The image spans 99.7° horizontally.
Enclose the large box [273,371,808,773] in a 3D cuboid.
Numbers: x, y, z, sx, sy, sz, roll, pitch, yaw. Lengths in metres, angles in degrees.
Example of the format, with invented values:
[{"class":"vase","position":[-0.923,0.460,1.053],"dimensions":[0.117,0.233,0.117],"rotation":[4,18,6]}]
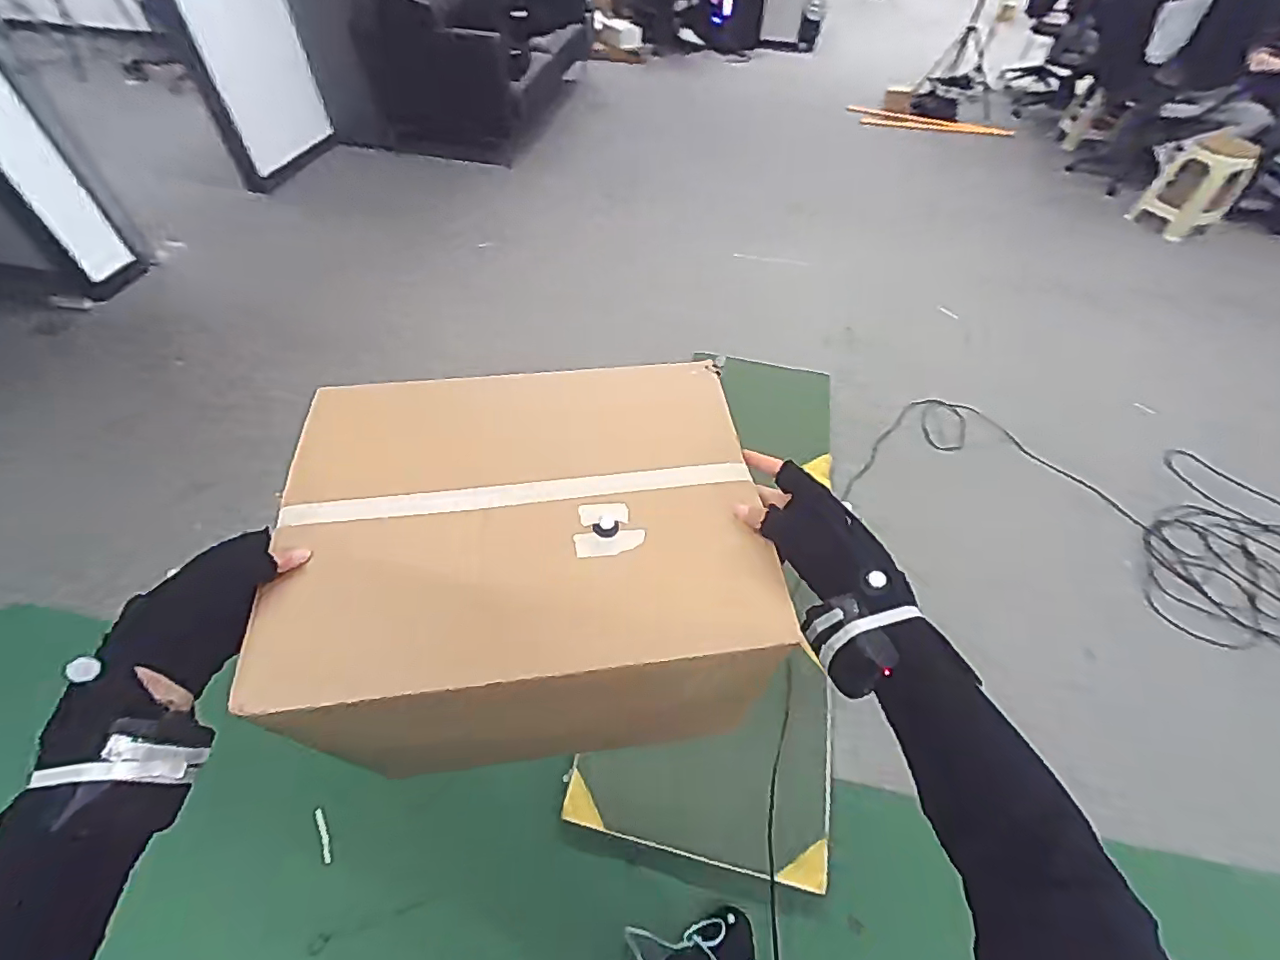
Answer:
[{"class":"large box","position":[-0.091,0.106,0.604],"dimensions":[0.408,0.320,0.320],"rotation":[-4,54,-7]}]
